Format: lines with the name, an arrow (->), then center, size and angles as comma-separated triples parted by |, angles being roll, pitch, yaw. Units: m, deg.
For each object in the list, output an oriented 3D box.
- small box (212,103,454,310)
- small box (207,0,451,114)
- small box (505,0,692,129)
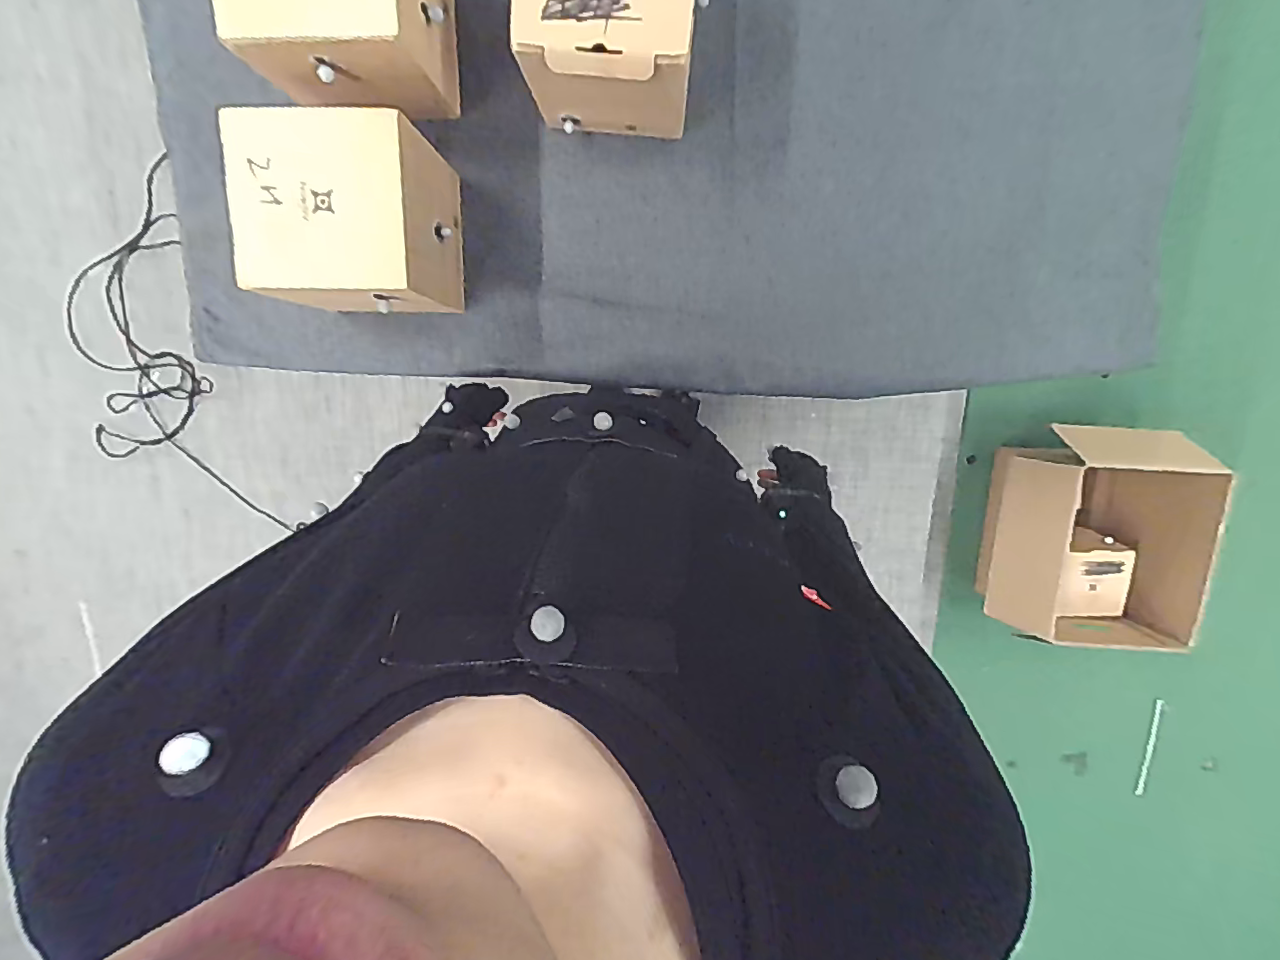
small box -> -0.316, -0.286, 0.599 | 0.179, 0.176, 0.168 | 1, 100, 1
small box -> -0.308, -0.506, 0.559 | 0.179, 0.176, 0.168 | 0, 102, 3
small box -> -0.031, -0.489, 0.550 | 0.168, 0.176, 0.179 | 6, 101, 1
